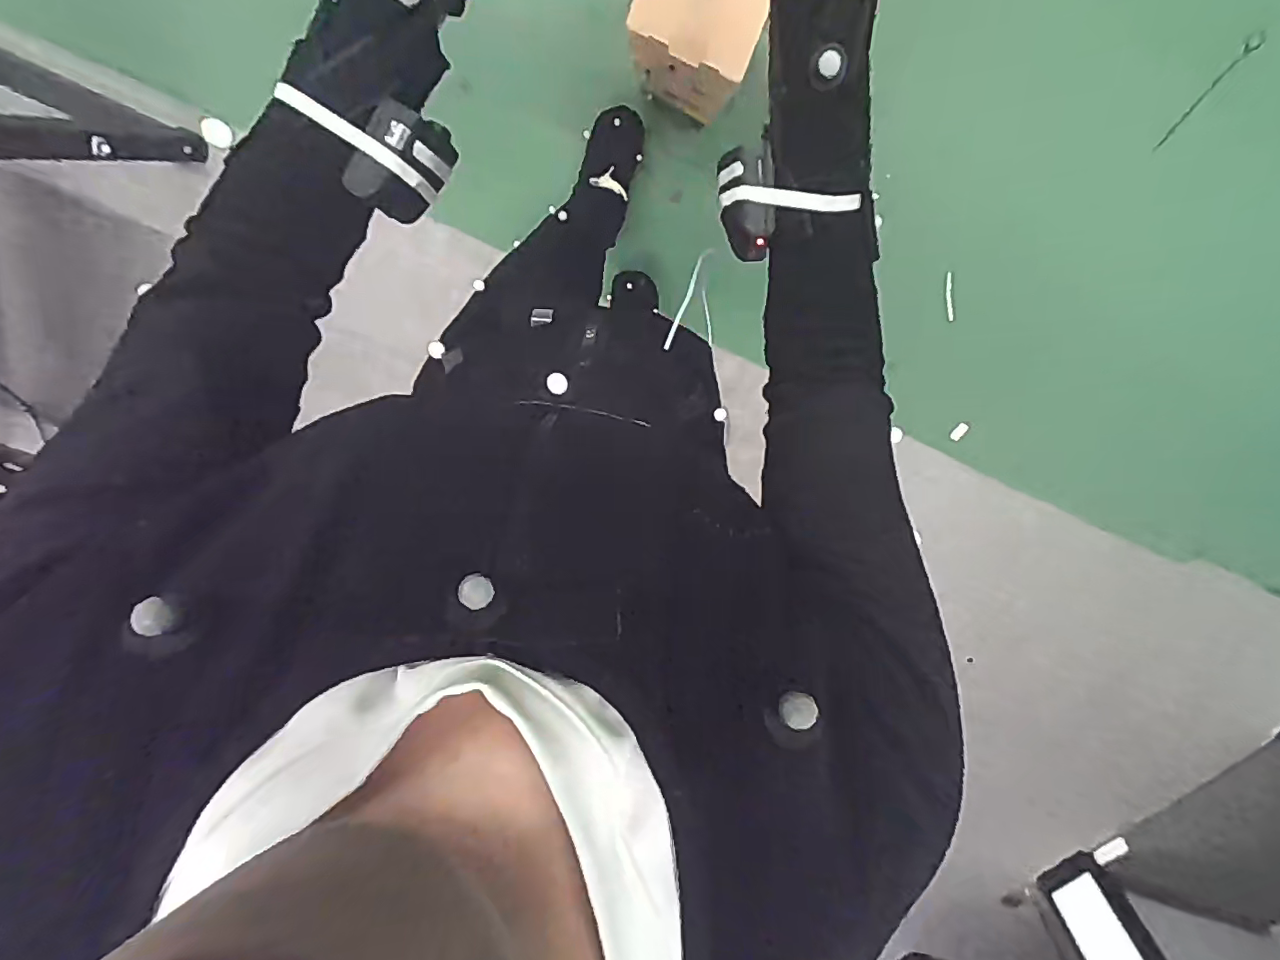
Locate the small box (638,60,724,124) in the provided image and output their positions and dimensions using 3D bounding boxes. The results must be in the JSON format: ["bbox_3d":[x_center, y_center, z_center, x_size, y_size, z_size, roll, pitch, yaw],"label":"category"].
[{"bbox_3d":[0.109,-0.814,1.031,0.168,0.176,0.179,24,117,-11],"label":"small box"}]

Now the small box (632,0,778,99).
[{"bbox_3d":[0.096,-0.662,0.740,0.168,0.176,0.179,21,117,-9],"label":"small box"}]
